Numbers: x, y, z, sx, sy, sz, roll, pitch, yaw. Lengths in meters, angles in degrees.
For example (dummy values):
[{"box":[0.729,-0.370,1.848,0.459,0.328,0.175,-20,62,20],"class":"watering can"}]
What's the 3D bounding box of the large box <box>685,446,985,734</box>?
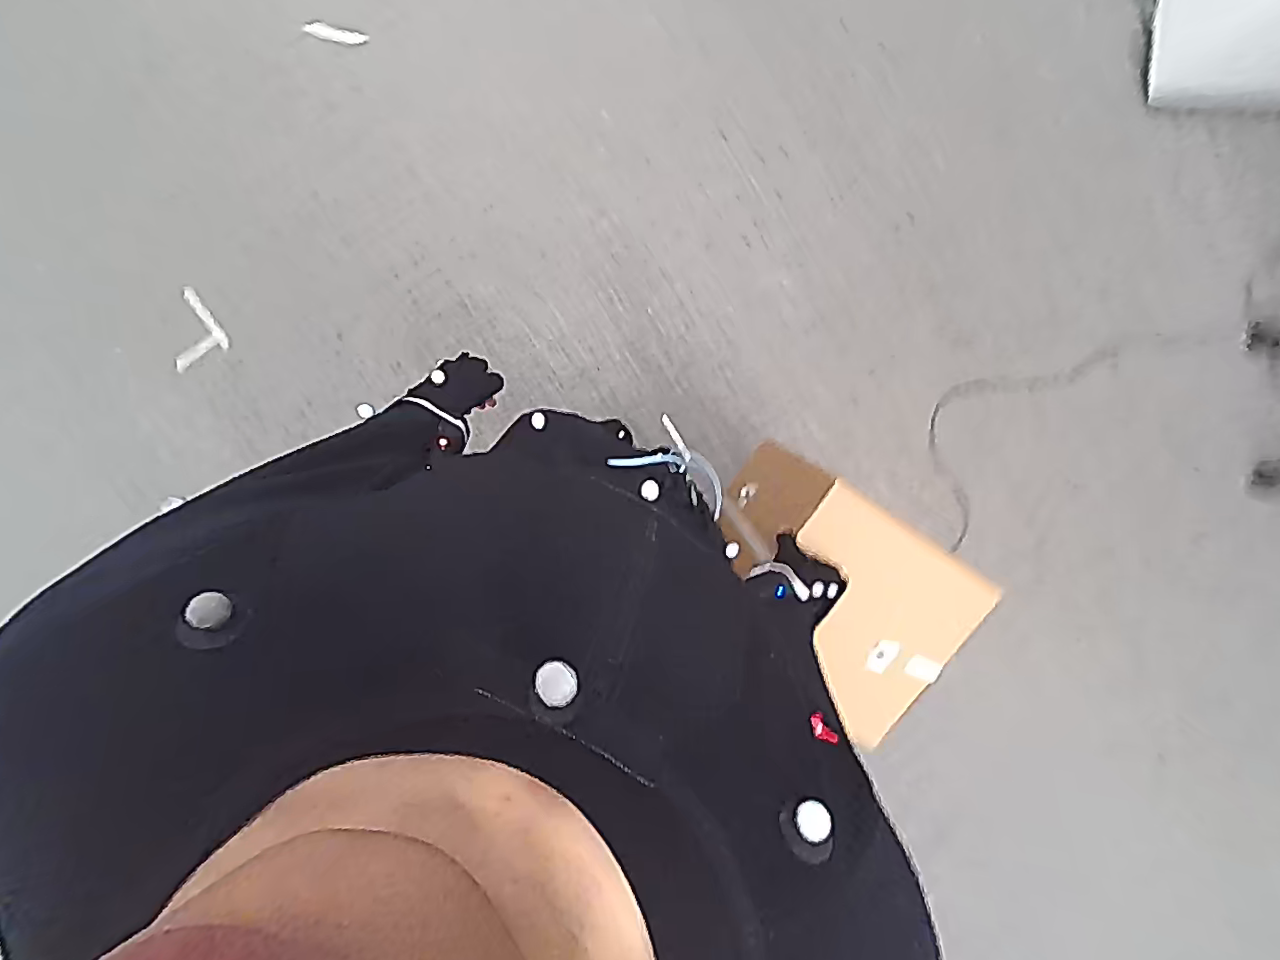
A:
[{"box":[0.311,0.167,0.998,0.320,0.408,0.320,33,99,-7],"class":"large box"}]
